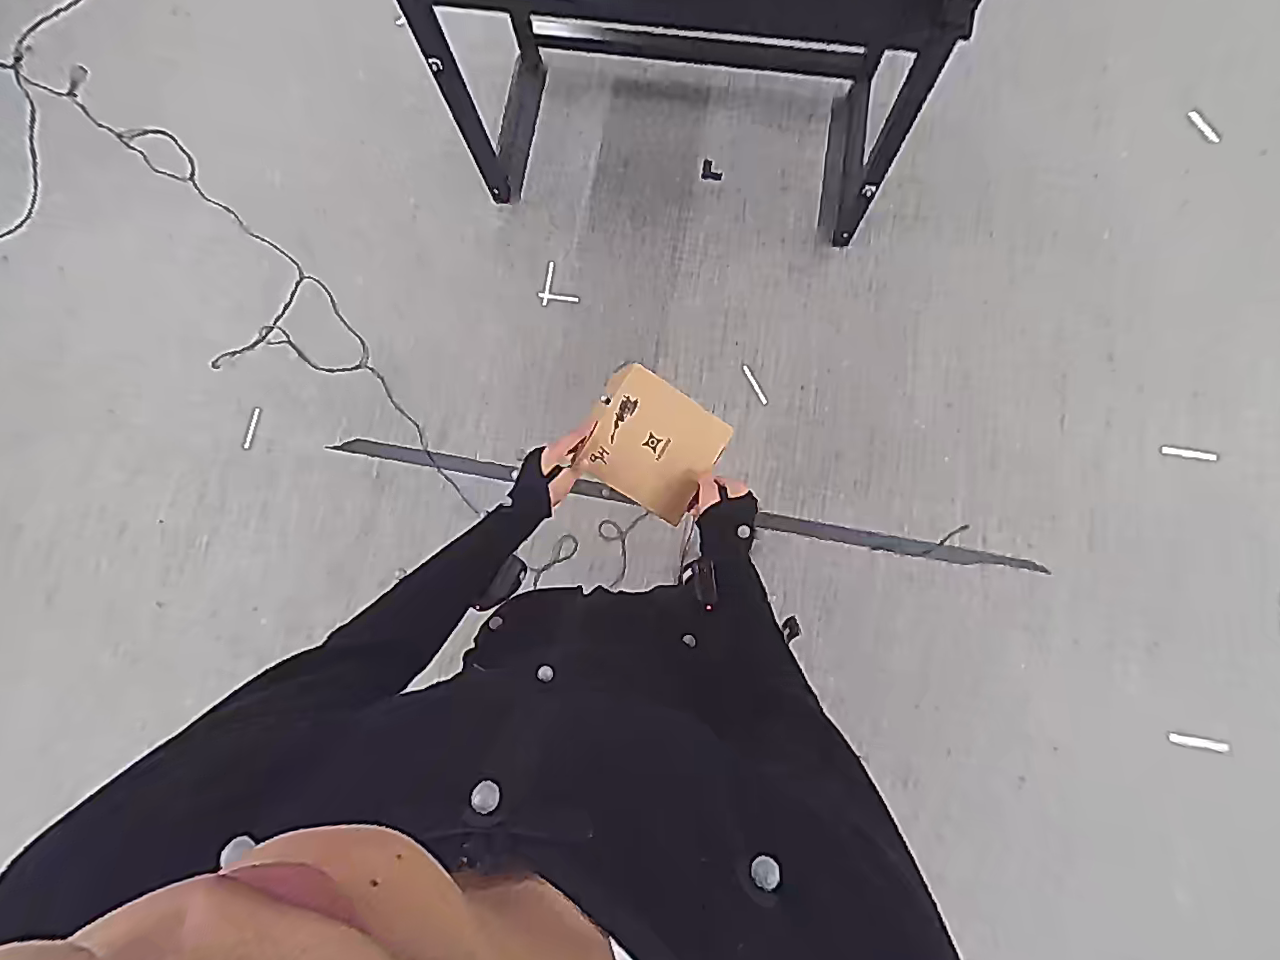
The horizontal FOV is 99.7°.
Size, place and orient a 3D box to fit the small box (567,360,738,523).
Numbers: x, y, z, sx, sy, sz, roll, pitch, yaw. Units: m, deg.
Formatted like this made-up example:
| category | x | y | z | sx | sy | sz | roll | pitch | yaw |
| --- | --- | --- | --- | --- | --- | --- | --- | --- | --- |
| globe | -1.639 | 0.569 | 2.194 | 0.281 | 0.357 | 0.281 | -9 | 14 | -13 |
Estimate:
| category | x | y | z | sx | sy | sz | roll | pitch | yaw |
| --- | --- | --- | --- | --- | --- | --- | --- | --- | --- |
| small box | 0.009 | -0.059 | 0.813 | 0.179 | 0.176 | 0.168 | 32 | 87 | -14 |
